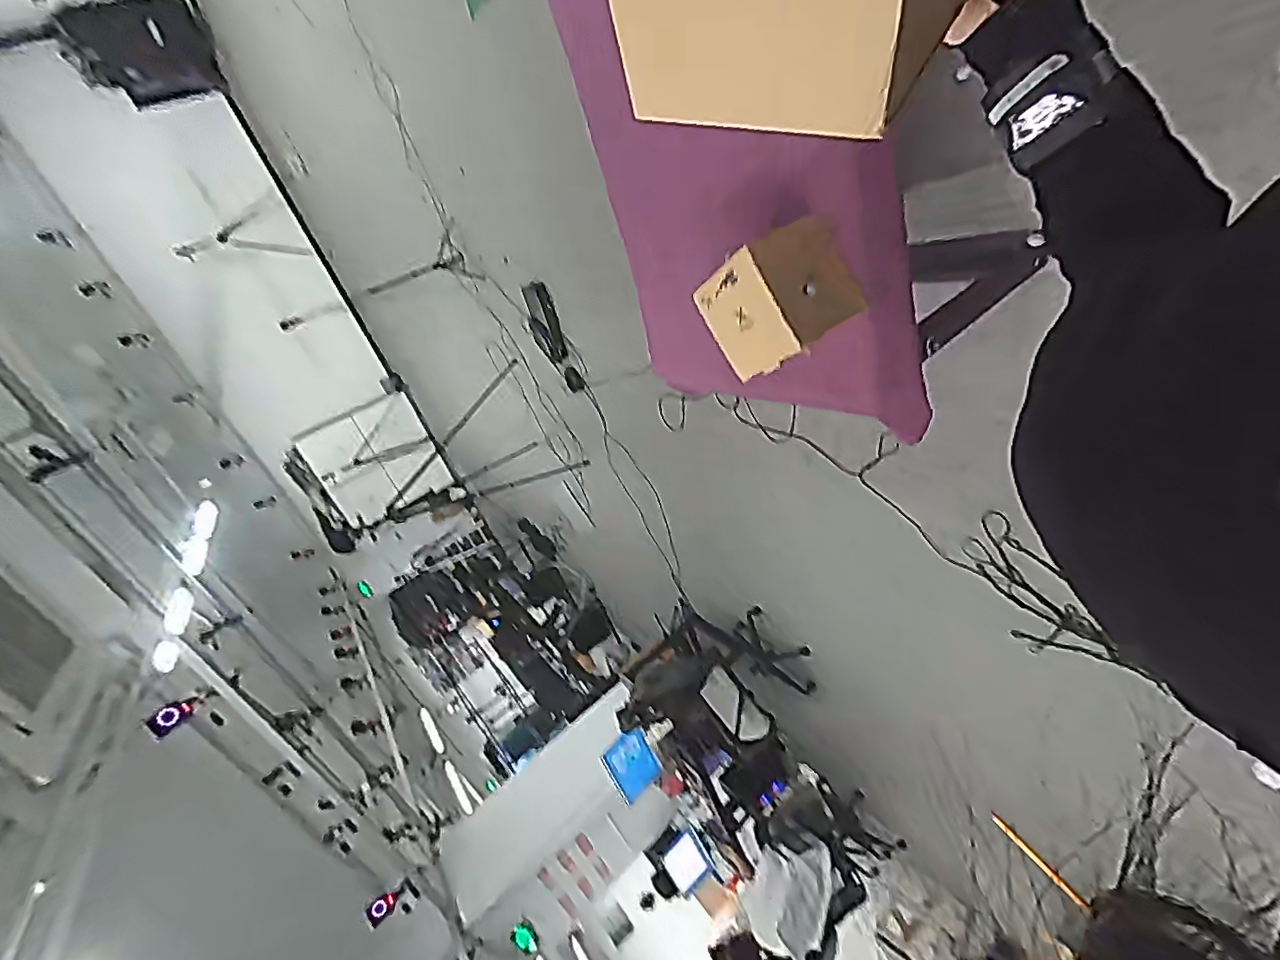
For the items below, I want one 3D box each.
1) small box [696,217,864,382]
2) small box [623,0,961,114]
[{"bbox_3d":[0.232,-0.296,0.897,0.179,0.176,0.168,58,156,-5],"label":"small box"},{"bbox_3d":[0.093,-0.331,0.275,0.168,0.179,0.176,24,161,25],"label":"small box"}]
